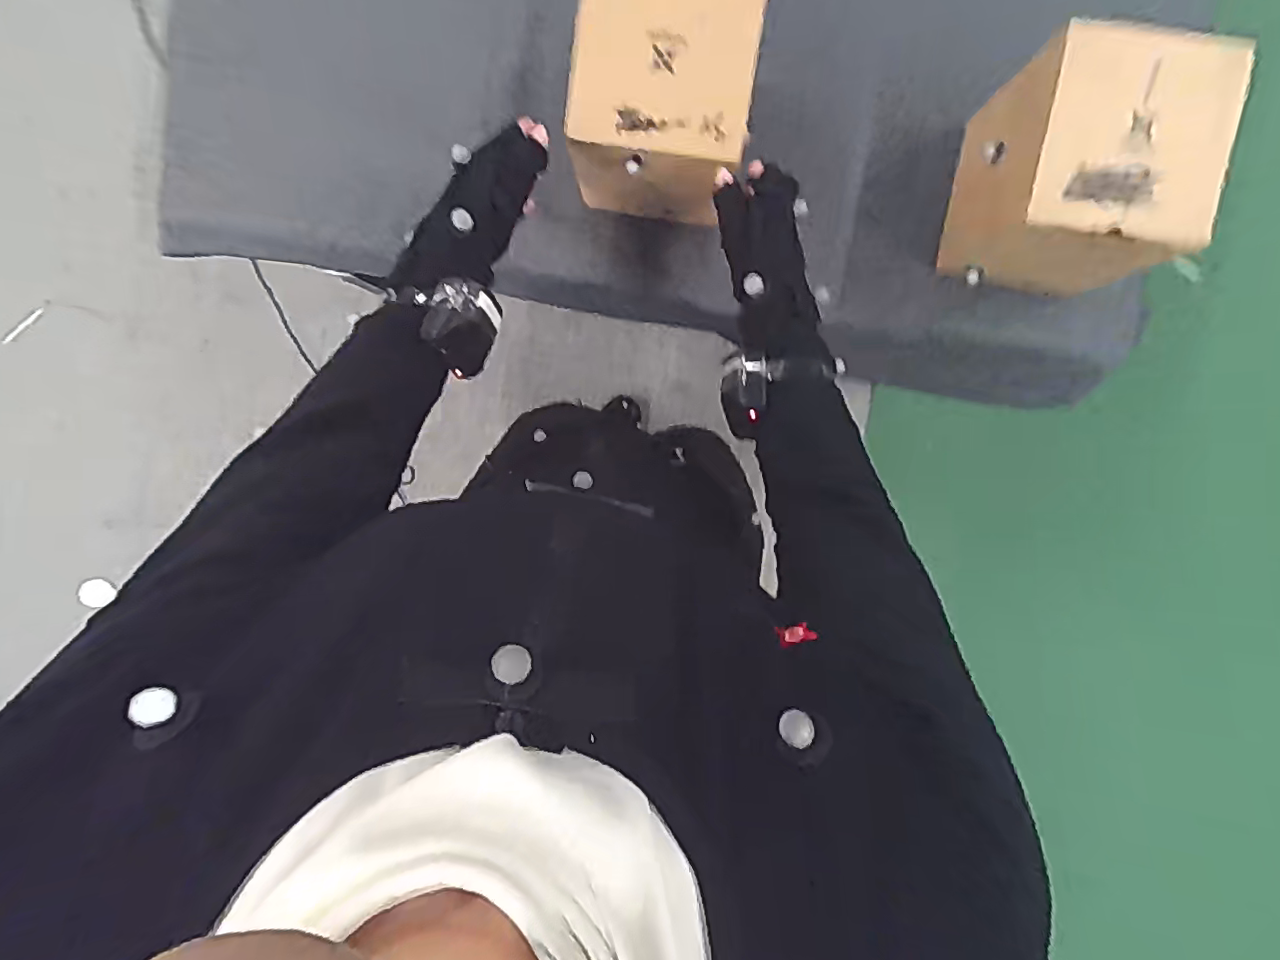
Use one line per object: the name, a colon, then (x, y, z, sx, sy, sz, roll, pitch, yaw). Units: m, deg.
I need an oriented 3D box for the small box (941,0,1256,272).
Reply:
small box: (0.444, -0.333, 0.560, 0.168, 0.176, 0.179, 10, 96, 1)

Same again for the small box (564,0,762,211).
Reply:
small box: (0.023, -0.411, 0.565, 0.168, 0.176, 0.179, 8, 98, 1)
